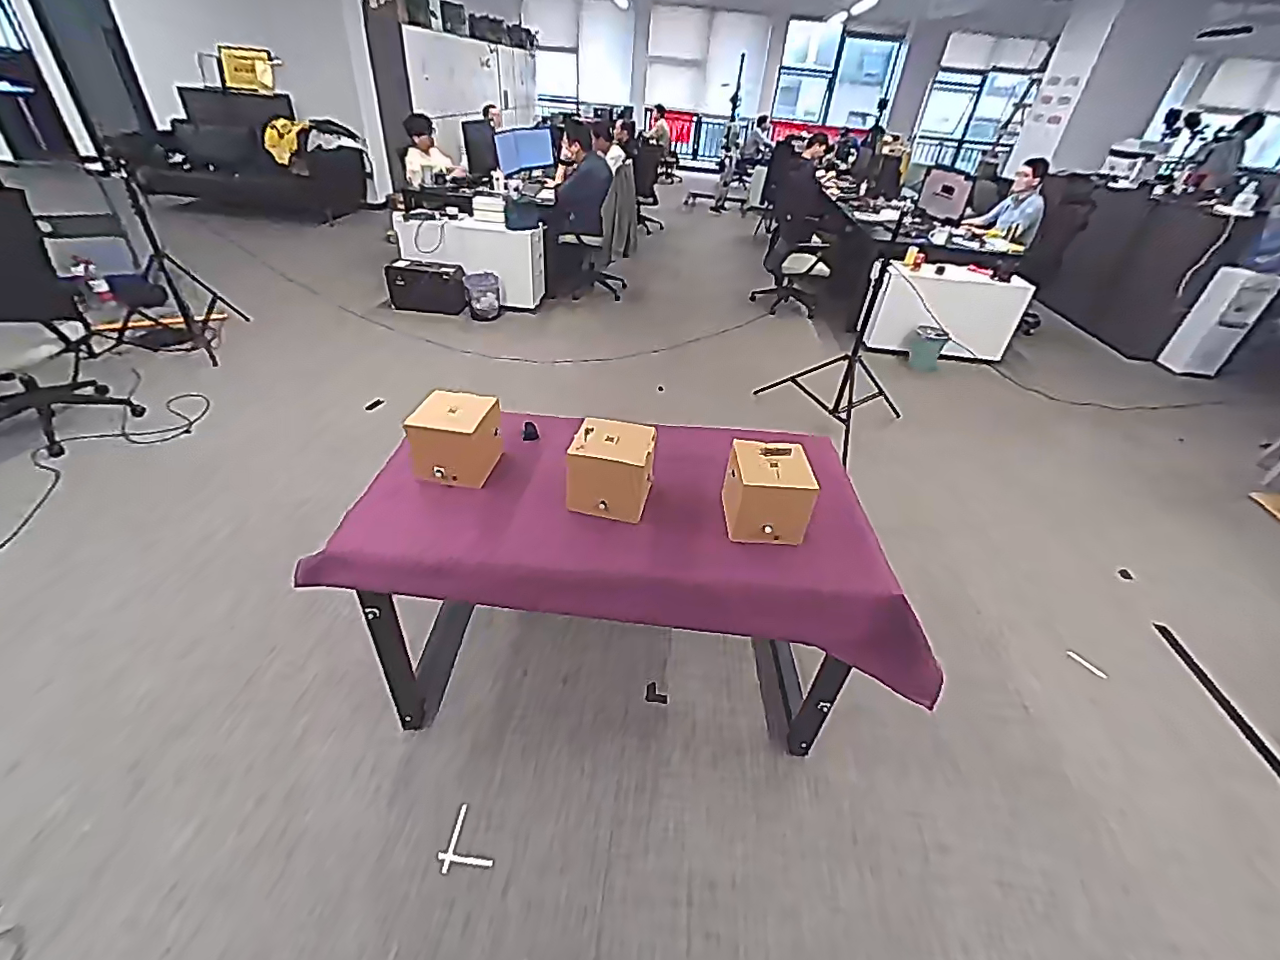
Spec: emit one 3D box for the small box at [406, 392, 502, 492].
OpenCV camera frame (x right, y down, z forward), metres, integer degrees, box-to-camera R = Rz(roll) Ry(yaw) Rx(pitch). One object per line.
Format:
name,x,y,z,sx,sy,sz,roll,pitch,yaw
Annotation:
small box,-0.447,-0.095,1.335,0.168,0.176,0.179,7,37,4

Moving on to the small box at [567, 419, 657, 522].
small box,-0.066,-0.020,1.282,0.179,0.176,0.168,11,36,6

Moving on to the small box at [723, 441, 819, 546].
small box,0.294,0.031,1.255,0.168,0.176,0.179,3,37,-2
